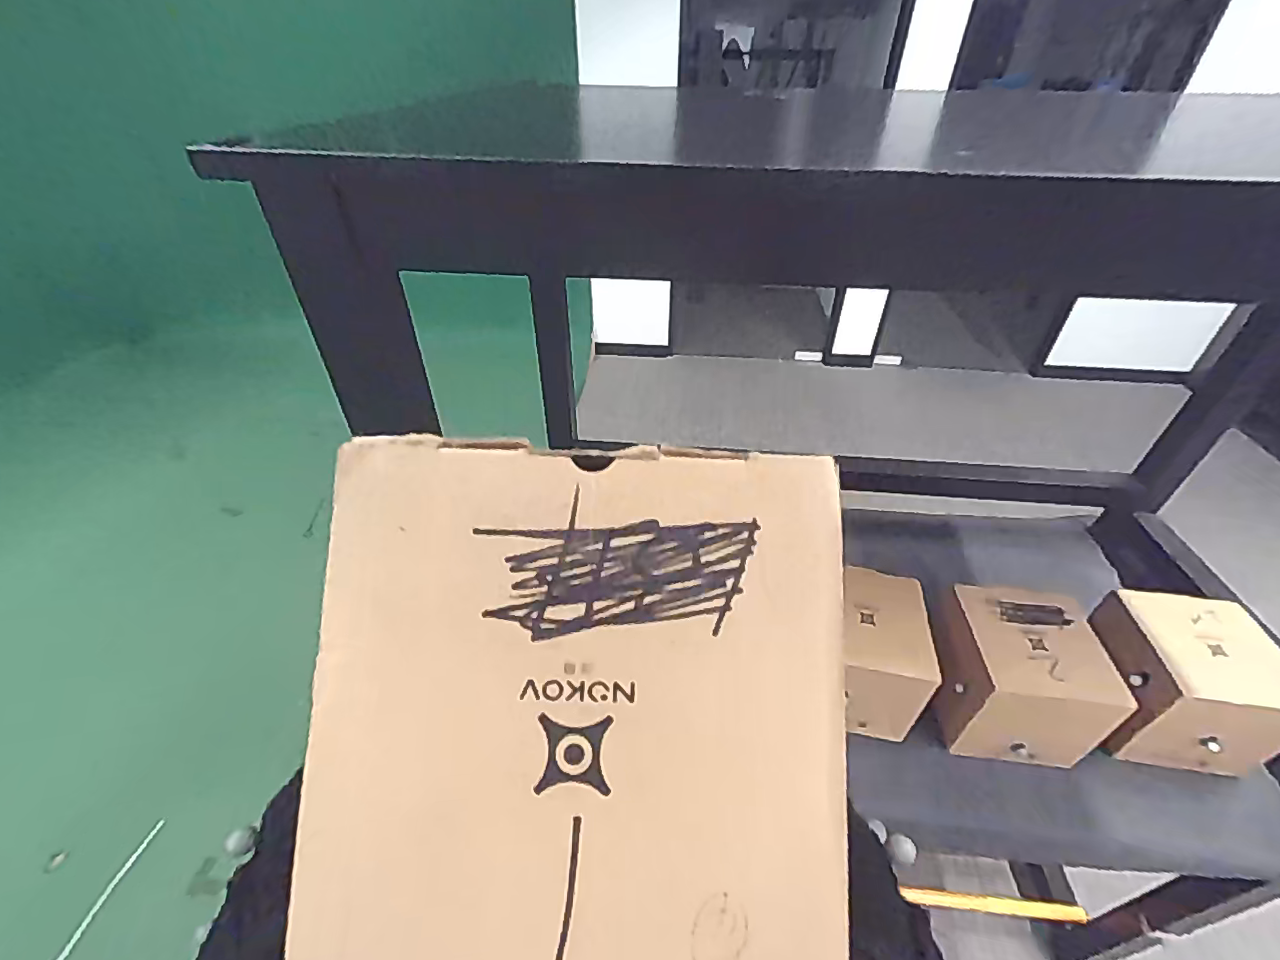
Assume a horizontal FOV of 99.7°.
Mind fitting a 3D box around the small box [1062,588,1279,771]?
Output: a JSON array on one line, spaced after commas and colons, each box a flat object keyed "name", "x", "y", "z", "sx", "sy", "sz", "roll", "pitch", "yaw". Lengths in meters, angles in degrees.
[{"name": "small box", "x": 0.757, "y": 0.283, "z": 0.767, "sx": 0.168, "sy": 0.176, "sz": 0.179, "roll": 6, "pitch": 38, "yaw": 7}]

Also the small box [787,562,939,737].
[{"name": "small box", "x": 0.319, "y": 0.253, "z": 0.808, "sx": 0.168, "sy": 0.176, "sz": 0.179, "roll": 8, "pitch": 39, "yaw": 10}]
